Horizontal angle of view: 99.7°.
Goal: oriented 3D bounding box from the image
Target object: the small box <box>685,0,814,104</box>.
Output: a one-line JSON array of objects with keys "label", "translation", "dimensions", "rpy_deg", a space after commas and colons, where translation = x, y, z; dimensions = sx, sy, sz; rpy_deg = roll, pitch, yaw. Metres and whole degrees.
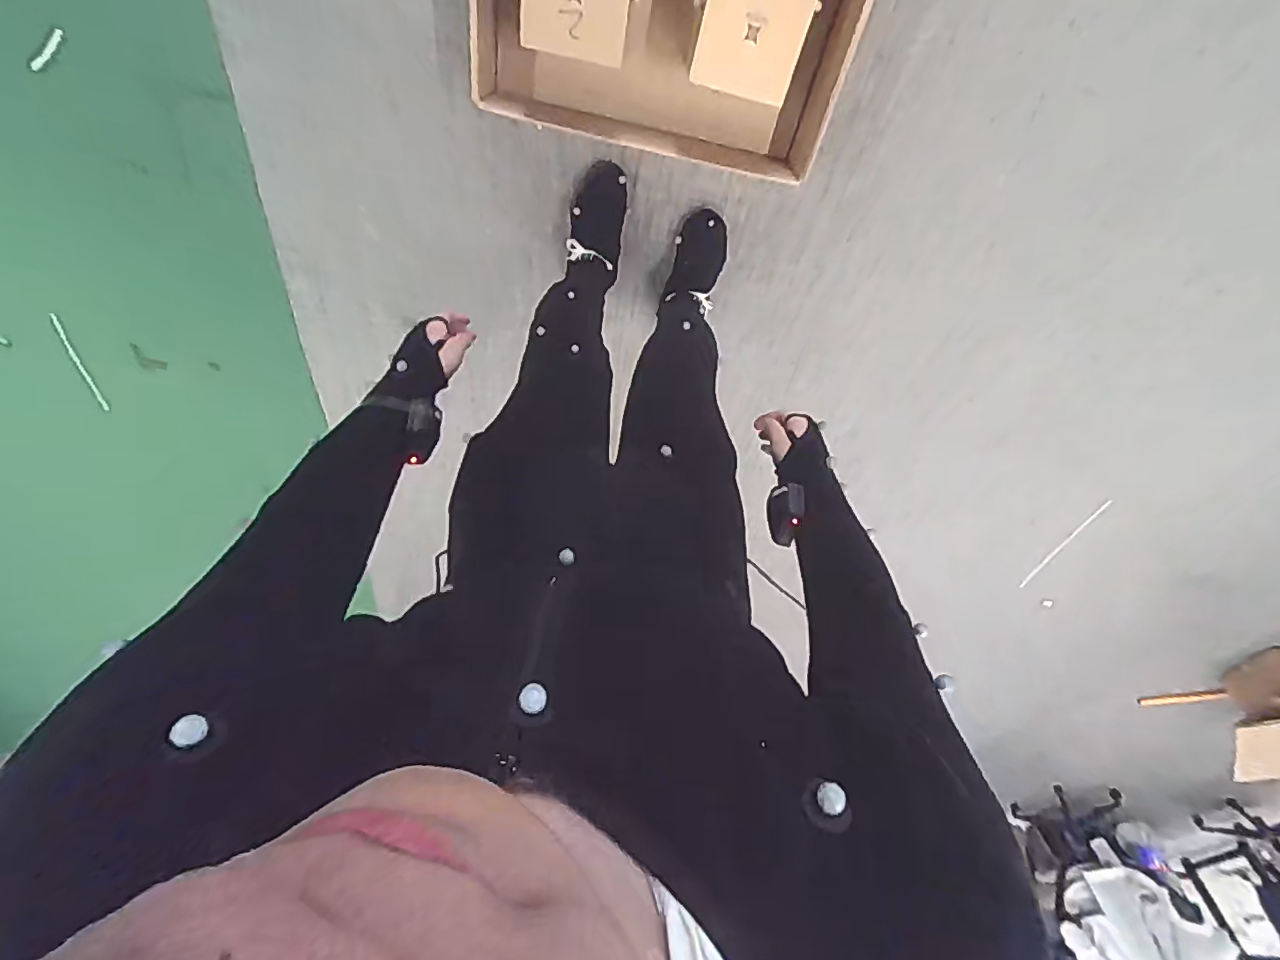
[{"label": "small box", "translation": [0.177, -0.763, 0.898], "dimensions": [0.168, 0.176, 0.179], "rpy_deg": [11, 132, -7]}]
